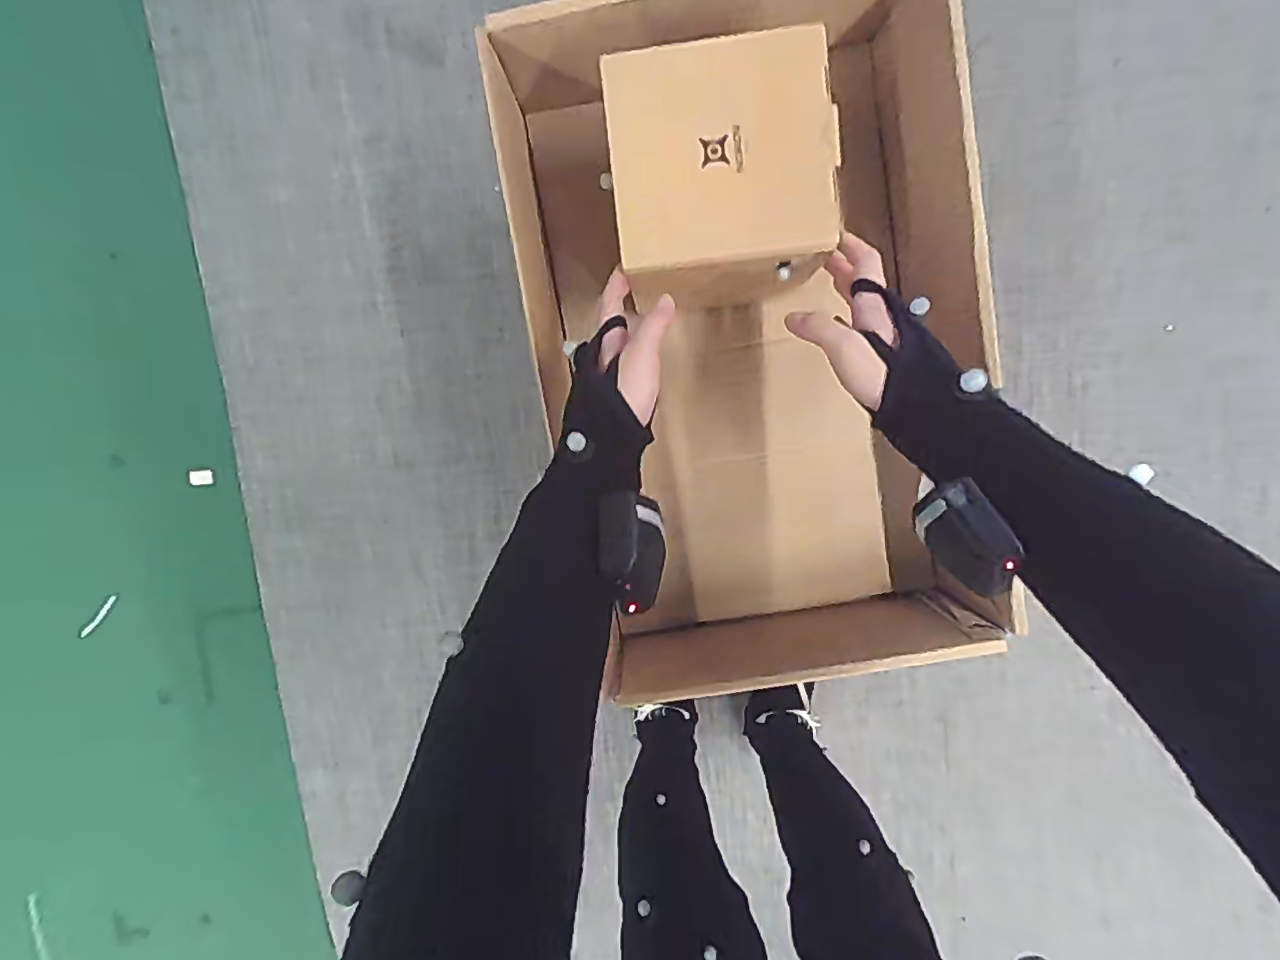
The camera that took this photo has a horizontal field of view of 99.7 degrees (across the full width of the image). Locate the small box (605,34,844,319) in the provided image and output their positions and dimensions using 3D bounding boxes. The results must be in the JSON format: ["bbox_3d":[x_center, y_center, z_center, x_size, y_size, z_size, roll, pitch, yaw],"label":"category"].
[{"bbox_3d":[0.070,-0.255,0.499,0.179,0.176,0.168,-5,94,3],"label":"small box"}]
